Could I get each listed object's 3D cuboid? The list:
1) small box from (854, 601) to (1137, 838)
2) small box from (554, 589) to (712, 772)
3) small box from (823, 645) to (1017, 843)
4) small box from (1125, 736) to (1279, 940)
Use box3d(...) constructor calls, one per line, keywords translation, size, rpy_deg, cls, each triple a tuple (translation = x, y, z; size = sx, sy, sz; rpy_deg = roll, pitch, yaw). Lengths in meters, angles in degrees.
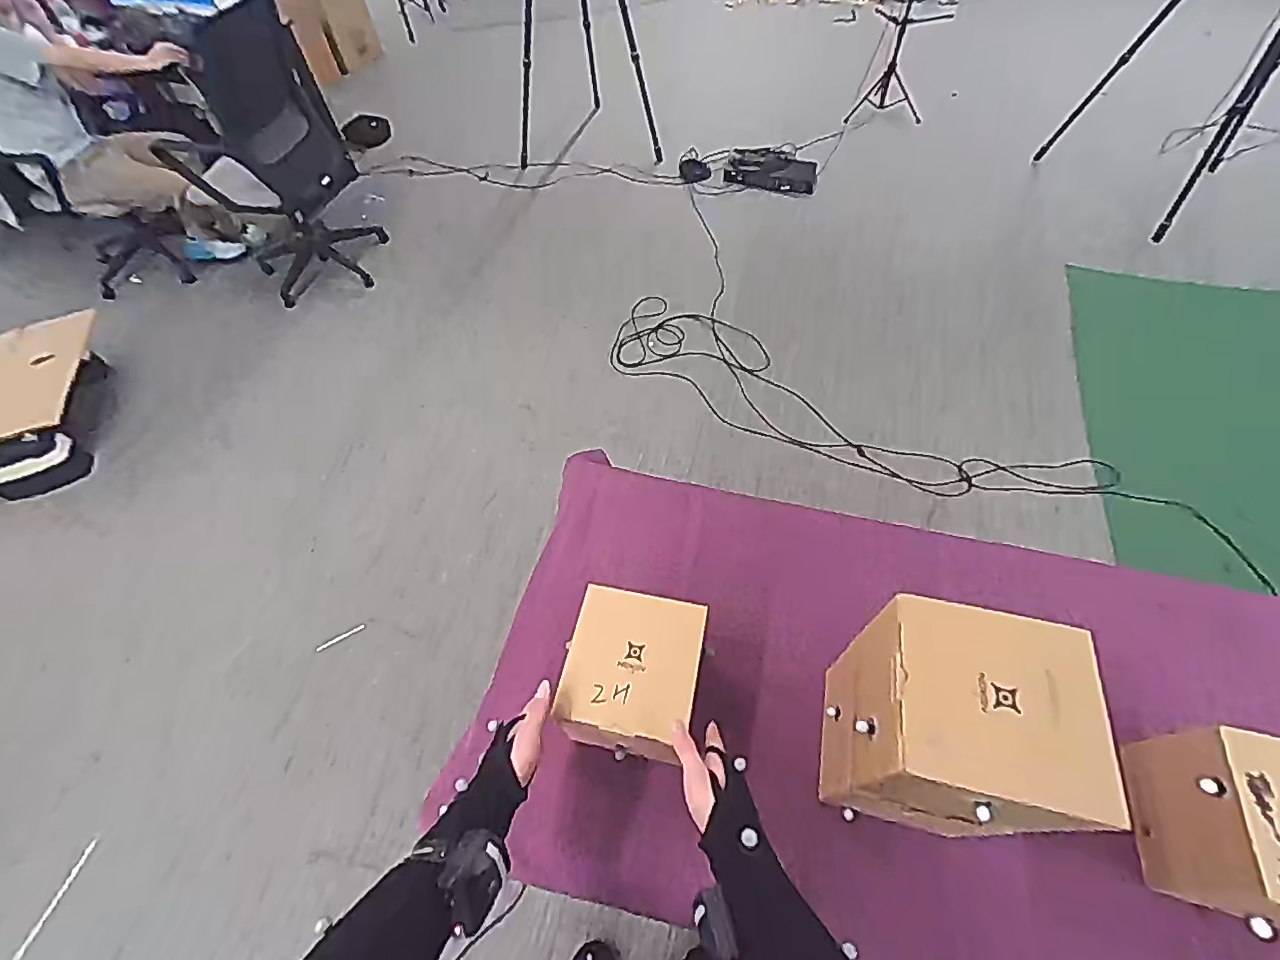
box3d(translation=(0.326, 0.244, 0.543), size=(0.179, 0.176, 0.168), rpy_deg=(11, 57, 9), cls="small box")
box3d(translation=(-0.002, 0.275, 0.735), size=(0.168, 0.176, 0.179), rpy_deg=(9, 57, 10), cls="small box")
box3d(translation=(0.335, 0.334, 0.678), size=(0.168, 0.176, 0.179), rpy_deg=(11, 56, 10), cls="small box")
box3d(translation=(0.711, 0.409, 0.606), size=(0.179, 0.176, 0.168), rpy_deg=(11, 56, 11), cls="small box")
